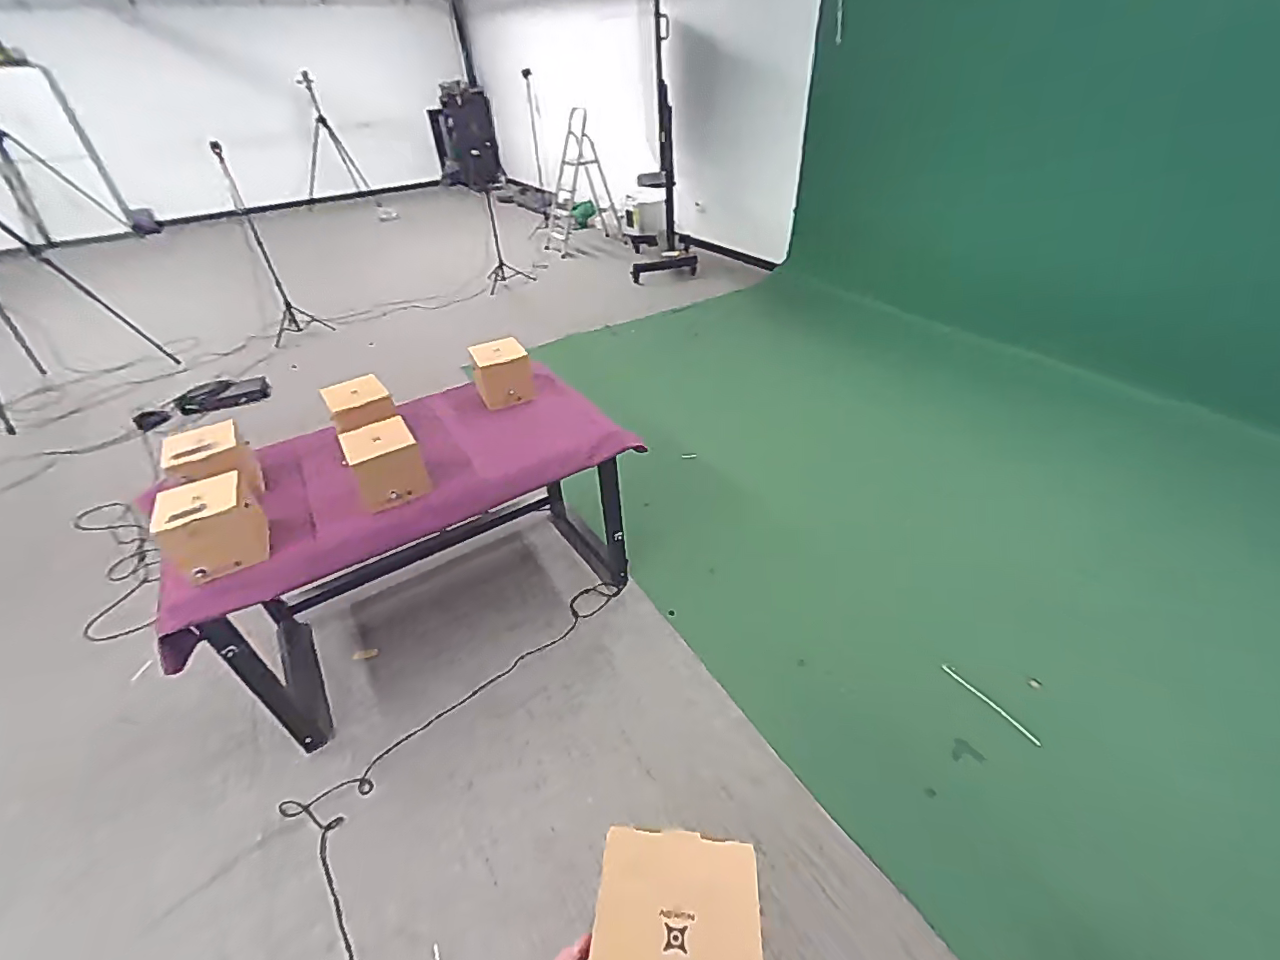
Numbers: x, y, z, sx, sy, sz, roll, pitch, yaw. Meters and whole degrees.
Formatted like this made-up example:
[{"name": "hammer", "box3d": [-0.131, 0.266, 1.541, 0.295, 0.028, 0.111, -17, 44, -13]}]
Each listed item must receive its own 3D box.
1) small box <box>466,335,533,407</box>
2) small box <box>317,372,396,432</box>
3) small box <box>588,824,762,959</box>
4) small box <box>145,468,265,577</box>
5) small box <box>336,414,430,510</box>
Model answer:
[{"name": "small box", "box3d": [-0.478, -0.372, 1.842, 0.168, 0.176, 0.179, -20, 42, -19]}, {"name": "small box", "box3d": [-0.858, -0.205, 1.661, 0.168, 0.176, 0.179, -27, 46, -28]}, {"name": "small box", "box3d": [0.033, 0.507, 0.572, 0.168, 0.176, 0.179, 4, 31, 4]}, {"name": "small box", "box3d": [-1.012, 0.105, 1.275, 0.168, 0.176, 0.179, -21, 40, -23]}, {"name": "small box", "box3d": [-0.688, -0.049, 1.452, 0.168, 0.176, 0.179, -24, 42, -23]}]
